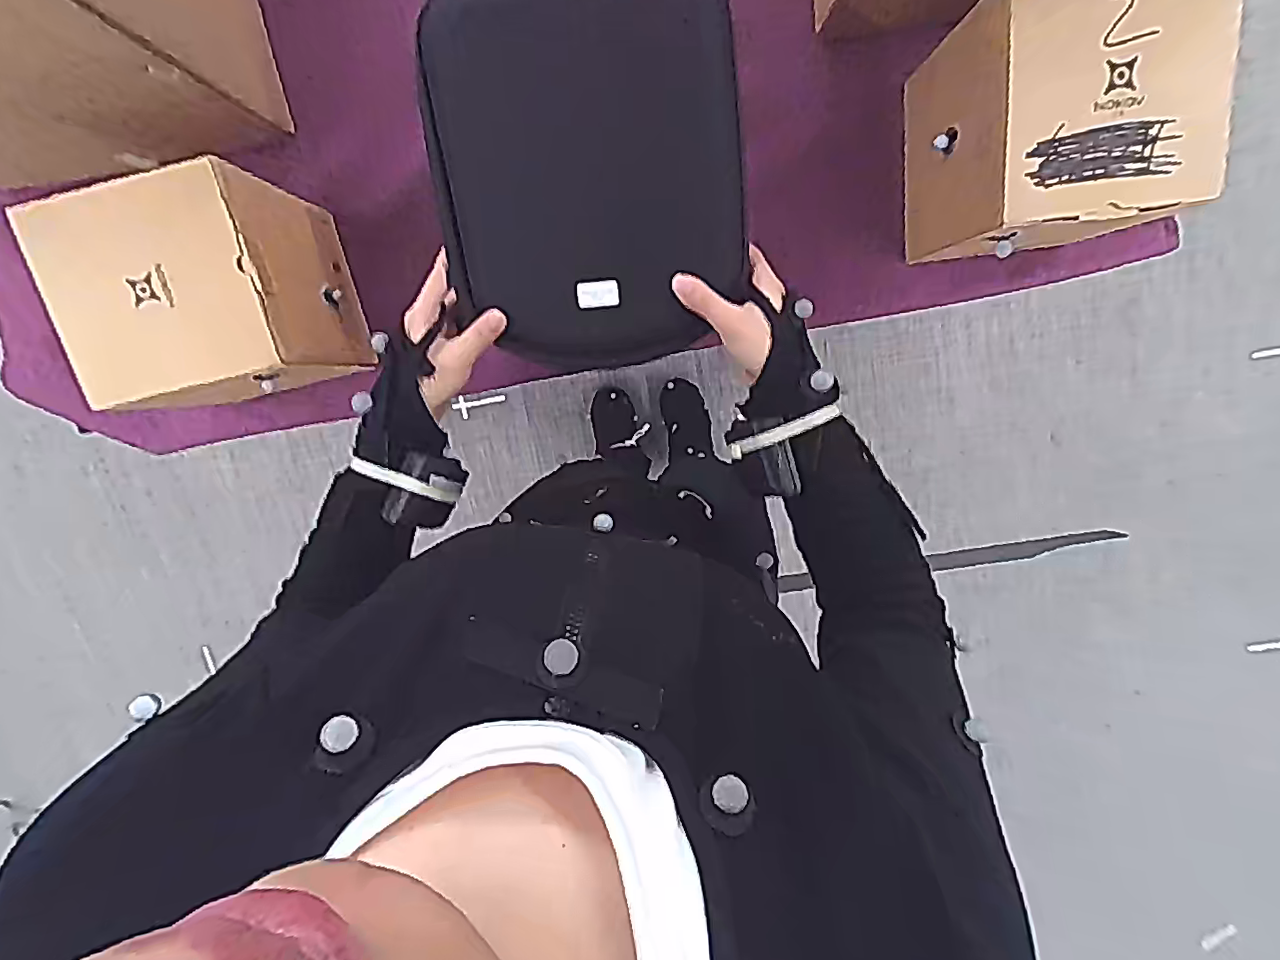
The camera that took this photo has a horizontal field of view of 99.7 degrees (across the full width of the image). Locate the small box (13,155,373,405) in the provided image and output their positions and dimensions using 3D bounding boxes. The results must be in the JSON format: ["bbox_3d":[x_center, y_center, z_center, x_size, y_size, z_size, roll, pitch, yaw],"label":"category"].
[{"bbox_3d":[-0.399,-0.173,0.519,0.179,0.176,0.168,-14,101,2],"label":"small box"}]

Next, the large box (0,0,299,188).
[{"bbox_3d":[-0.531,-0.486,0.379,0.320,0.320,0.408,-10,104,1],"label":"large box"}]
